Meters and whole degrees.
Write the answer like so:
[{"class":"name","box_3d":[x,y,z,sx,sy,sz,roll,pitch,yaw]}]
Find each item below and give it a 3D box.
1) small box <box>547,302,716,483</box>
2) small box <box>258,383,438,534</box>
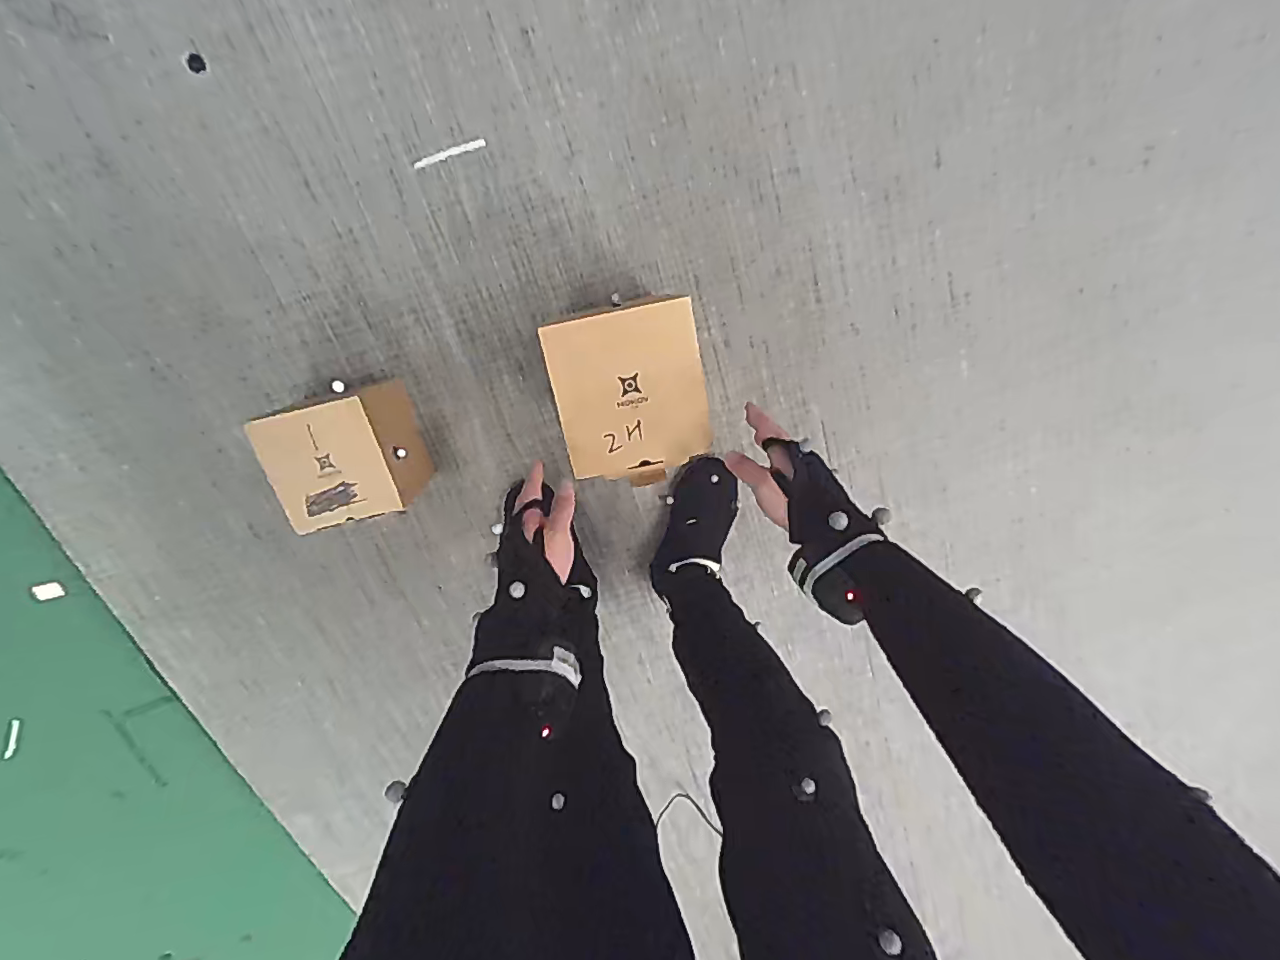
[{"class":"small box","box_3d":[-0.012,-0.117,0.670,0.168,0.176,0.179,-11,110,0]},{"class":"small box","box_3d":[-0.442,-0.041,0.854,0.168,0.176,0.179,-14,109,-1]}]
